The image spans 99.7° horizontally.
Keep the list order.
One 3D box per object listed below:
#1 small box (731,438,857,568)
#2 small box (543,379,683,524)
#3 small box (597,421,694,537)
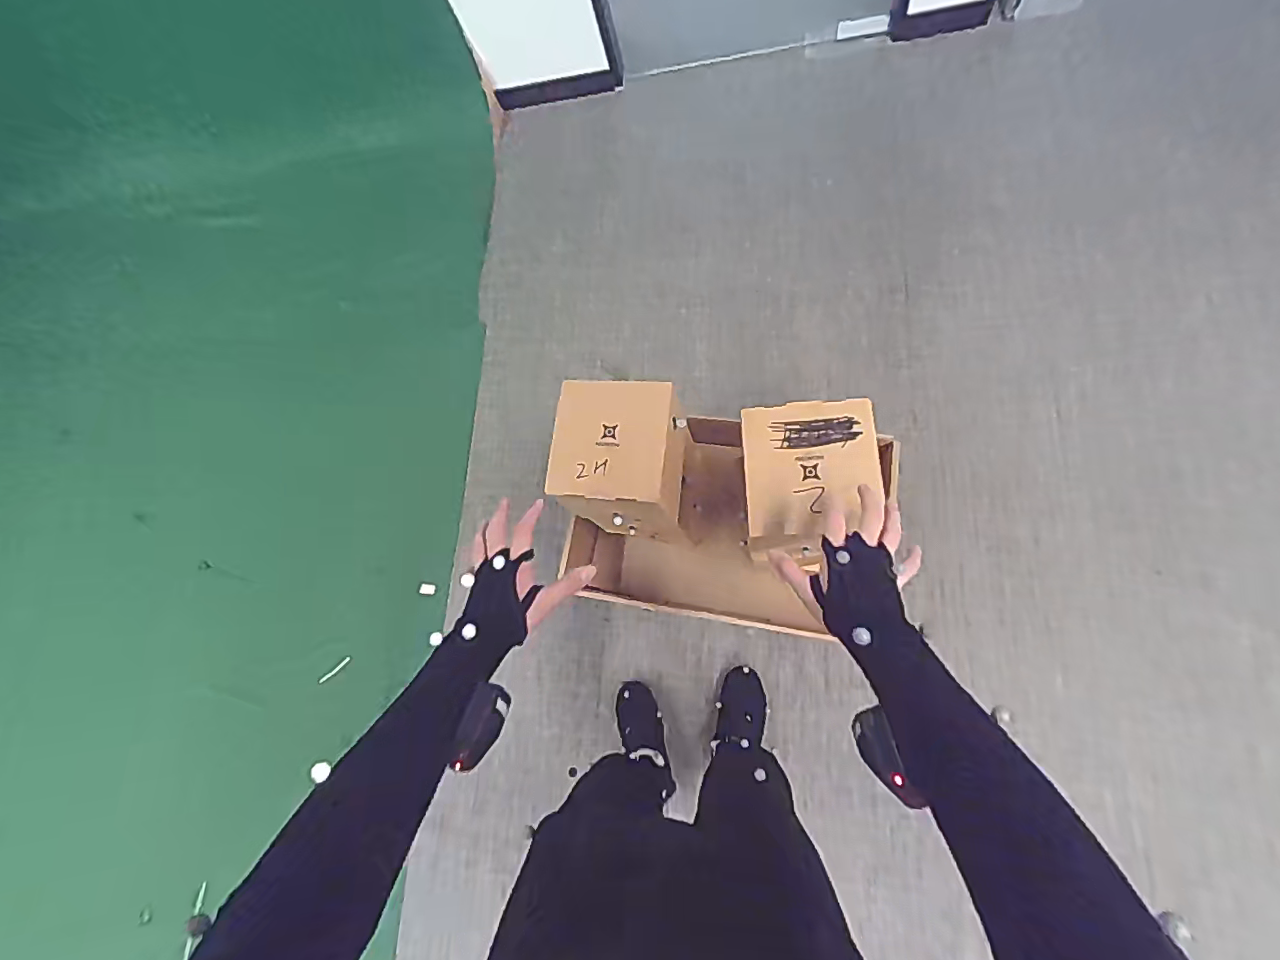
[{"bbox_3d":[0.253,0.050,0.913,0.168,0.176,0.179,-11,71,10],"label":"small box"},{"bbox_3d":[-0.030,-0.039,0.831,0.168,0.176,0.179,4,76,14],"label":"small box"},{"bbox_3d":[0.003,-0.002,0.988,0.168,0.176,0.179,4,76,14],"label":"small box"}]
